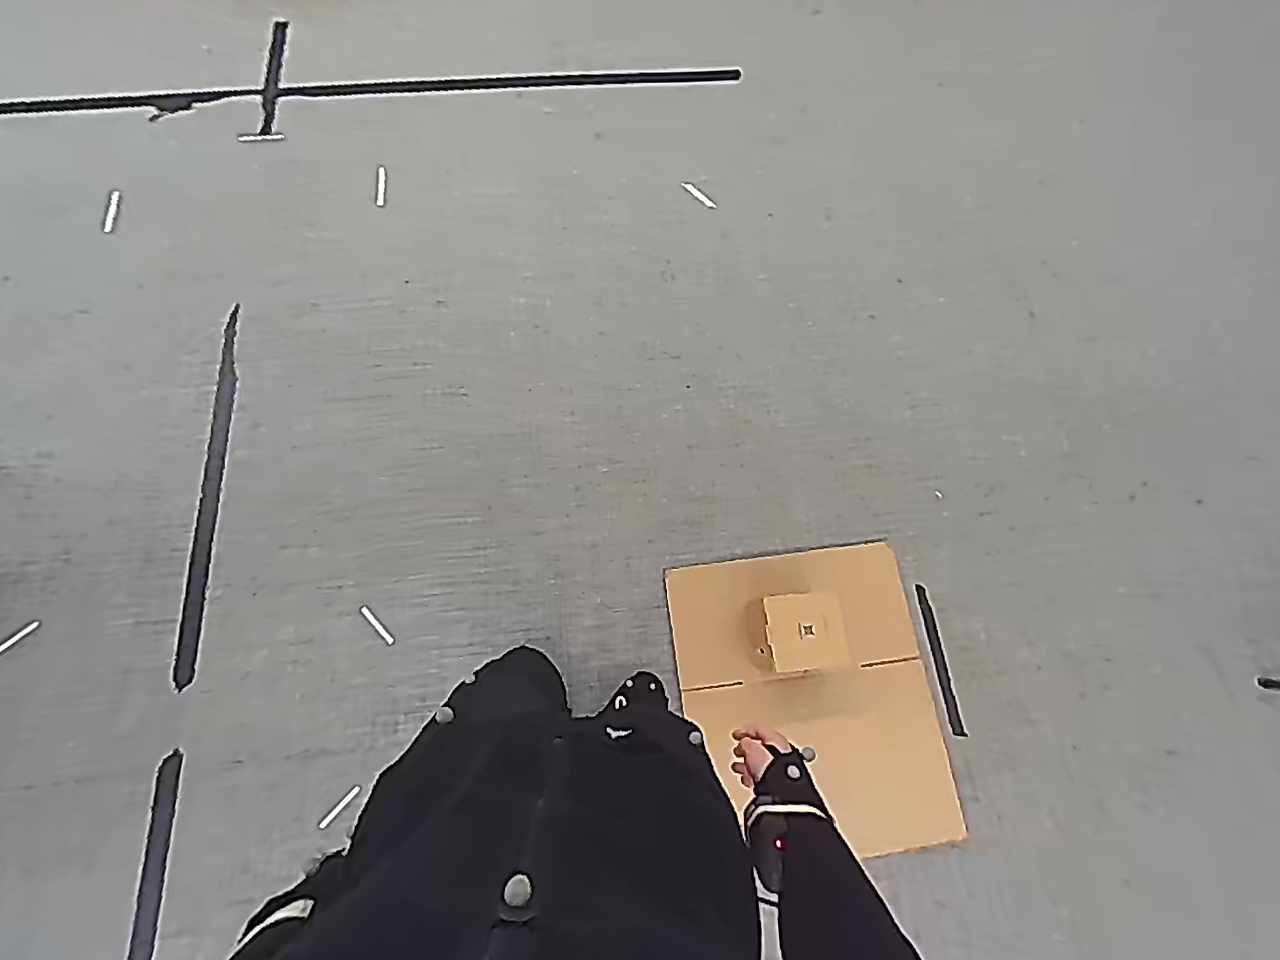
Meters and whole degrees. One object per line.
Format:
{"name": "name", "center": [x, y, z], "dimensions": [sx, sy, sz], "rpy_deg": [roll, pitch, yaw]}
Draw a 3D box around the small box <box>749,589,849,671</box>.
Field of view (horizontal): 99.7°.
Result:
{"name": "small box", "center": [0.362, 0.354, 1.276], "dimensions": [0.179, 0.176, 0.168], "rpy_deg": [-6, 75, -4]}
